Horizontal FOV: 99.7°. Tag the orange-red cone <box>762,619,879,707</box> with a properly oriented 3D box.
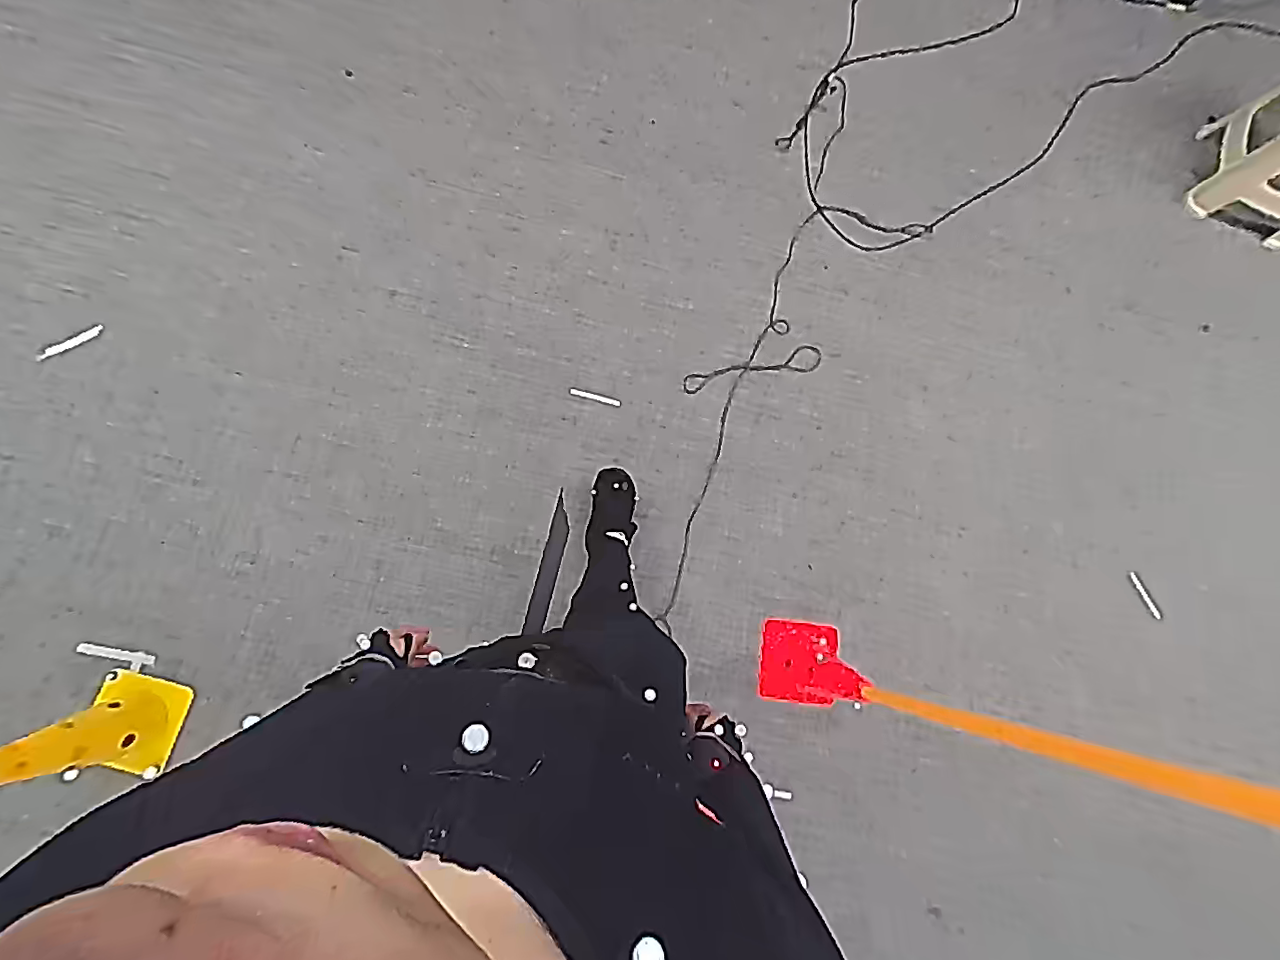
[{"bbox_3d":[0.421,0.429,1.193,0.199,0.360,0.198,9,79,-2],"label":"orange-red cone"}]
